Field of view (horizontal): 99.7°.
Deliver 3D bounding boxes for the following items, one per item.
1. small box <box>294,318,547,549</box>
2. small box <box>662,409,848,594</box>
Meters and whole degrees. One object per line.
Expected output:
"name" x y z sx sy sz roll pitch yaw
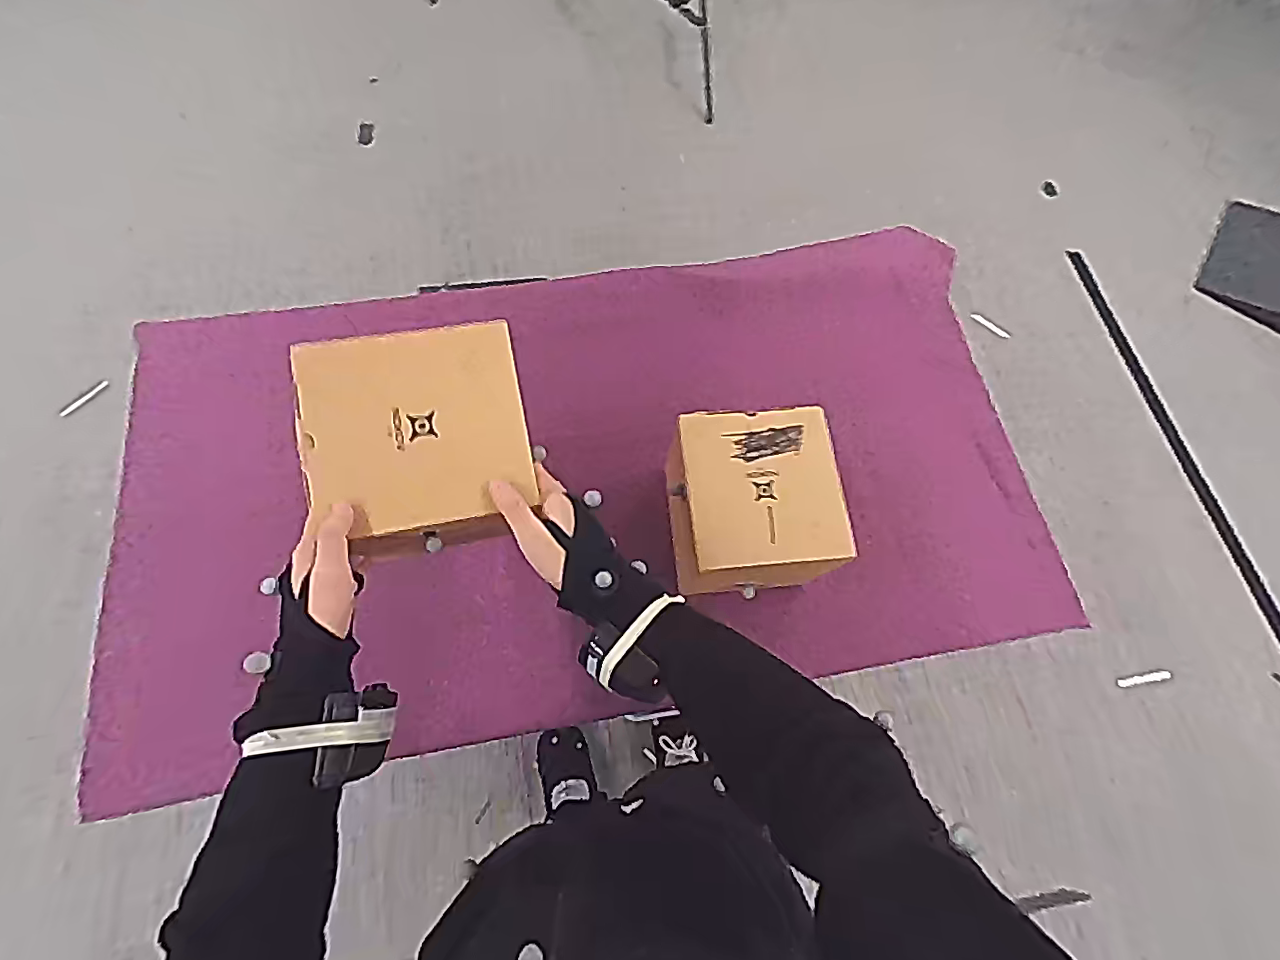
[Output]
"small box" -0.189 -0.033 0.512 0.179 0.176 0.168 -11 82 -11
"small box" 0.122 0.033 0.652 0.168 0.176 0.179 -4 70 -4
